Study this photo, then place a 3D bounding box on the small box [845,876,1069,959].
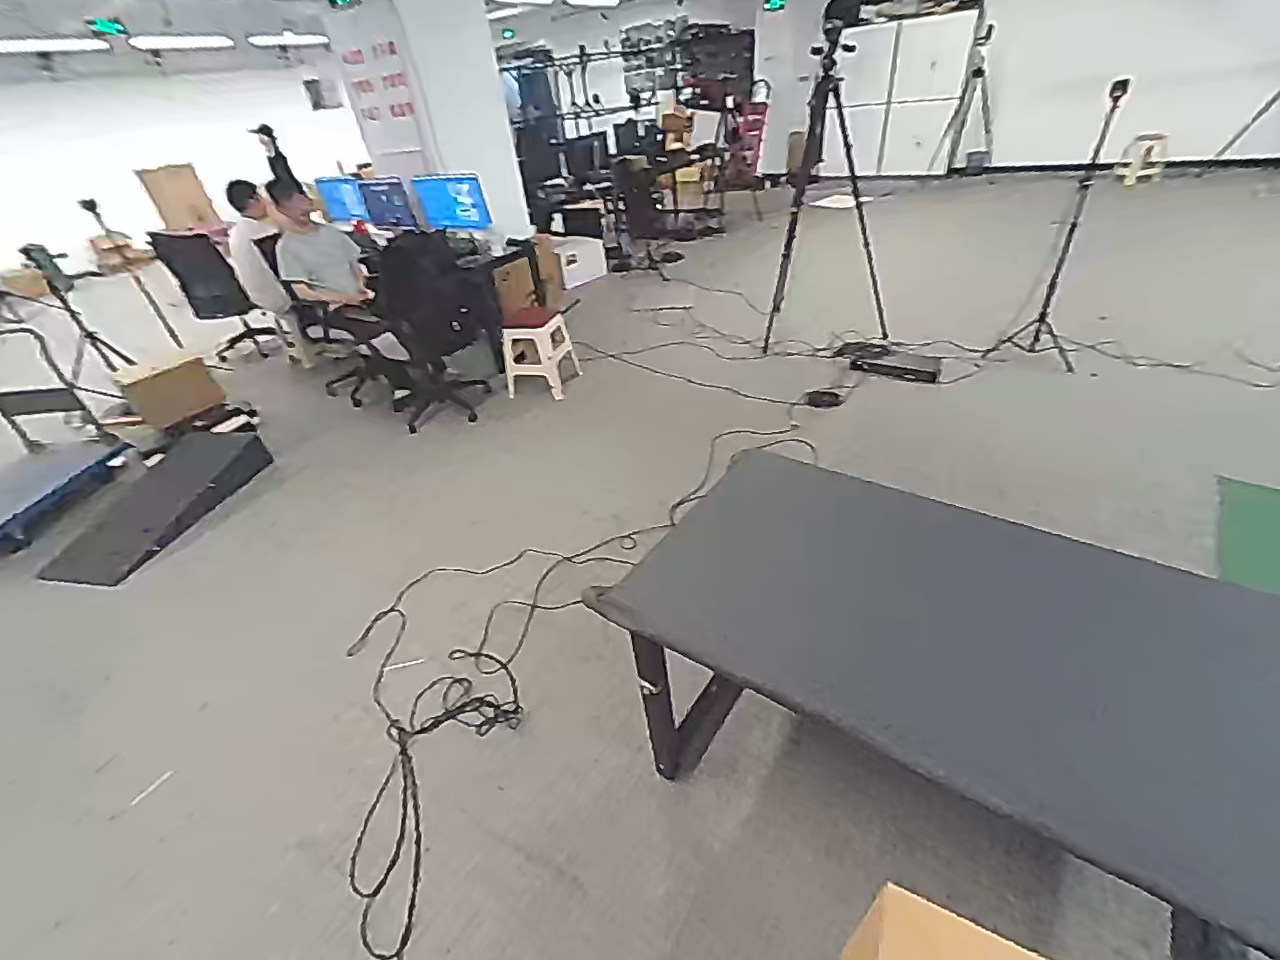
[{"bbox_3d":[0.219,0.421,0.351,0.168,0.176,0.179,16,37,22],"label":"small box"}]
